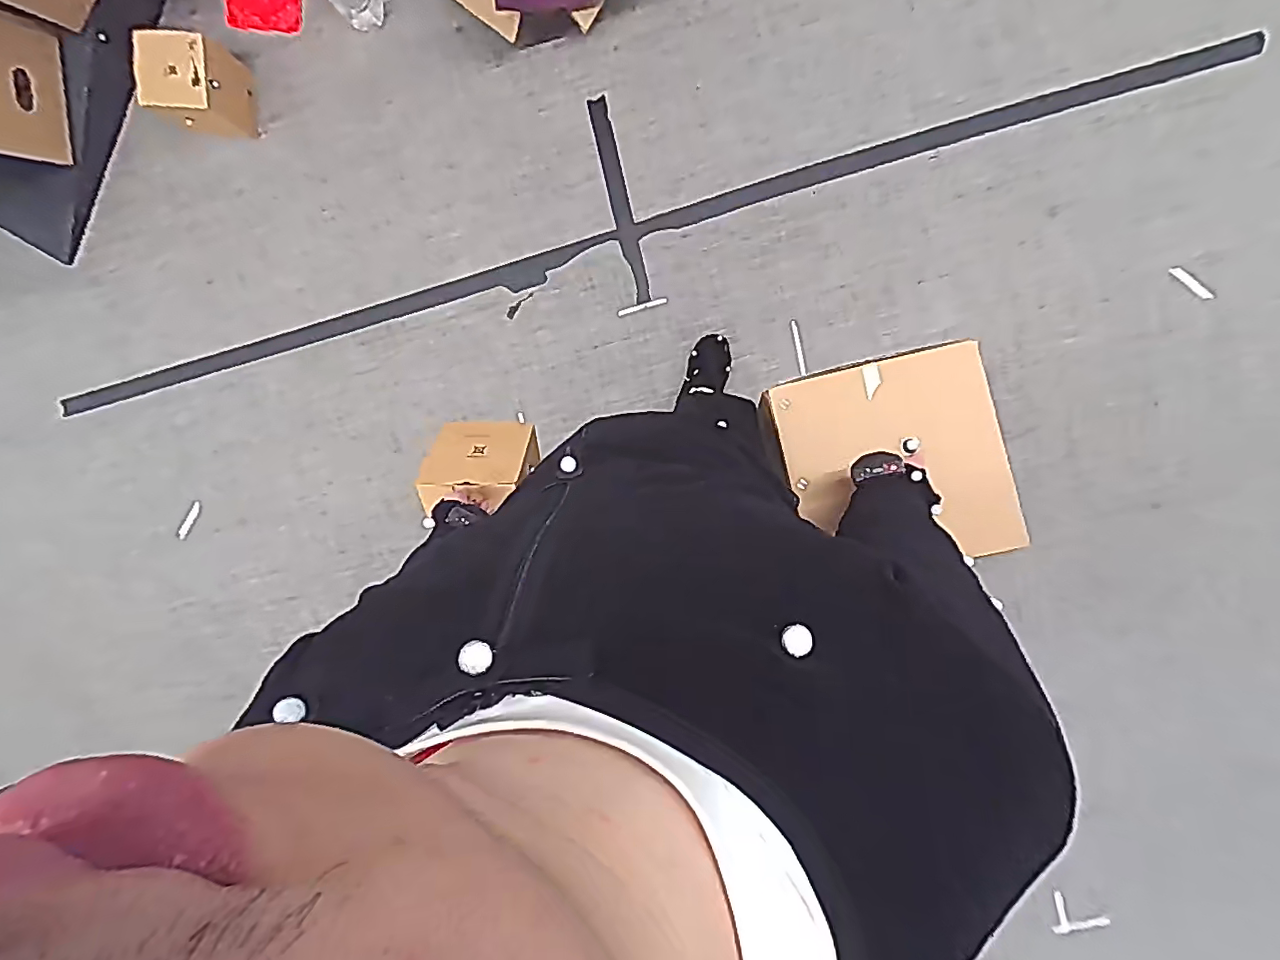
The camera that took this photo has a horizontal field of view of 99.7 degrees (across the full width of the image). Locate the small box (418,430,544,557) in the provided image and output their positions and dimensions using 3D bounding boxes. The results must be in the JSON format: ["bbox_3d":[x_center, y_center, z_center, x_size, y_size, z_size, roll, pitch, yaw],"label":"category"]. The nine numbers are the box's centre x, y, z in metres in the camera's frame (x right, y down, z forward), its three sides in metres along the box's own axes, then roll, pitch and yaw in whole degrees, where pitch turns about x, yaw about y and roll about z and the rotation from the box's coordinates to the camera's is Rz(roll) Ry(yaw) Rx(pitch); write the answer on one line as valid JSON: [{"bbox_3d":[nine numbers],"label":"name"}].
[{"bbox_3d":[-0.275,0.026,0.984,0.168,0.179,0.176,0,130,2],"label":"small box"}]
